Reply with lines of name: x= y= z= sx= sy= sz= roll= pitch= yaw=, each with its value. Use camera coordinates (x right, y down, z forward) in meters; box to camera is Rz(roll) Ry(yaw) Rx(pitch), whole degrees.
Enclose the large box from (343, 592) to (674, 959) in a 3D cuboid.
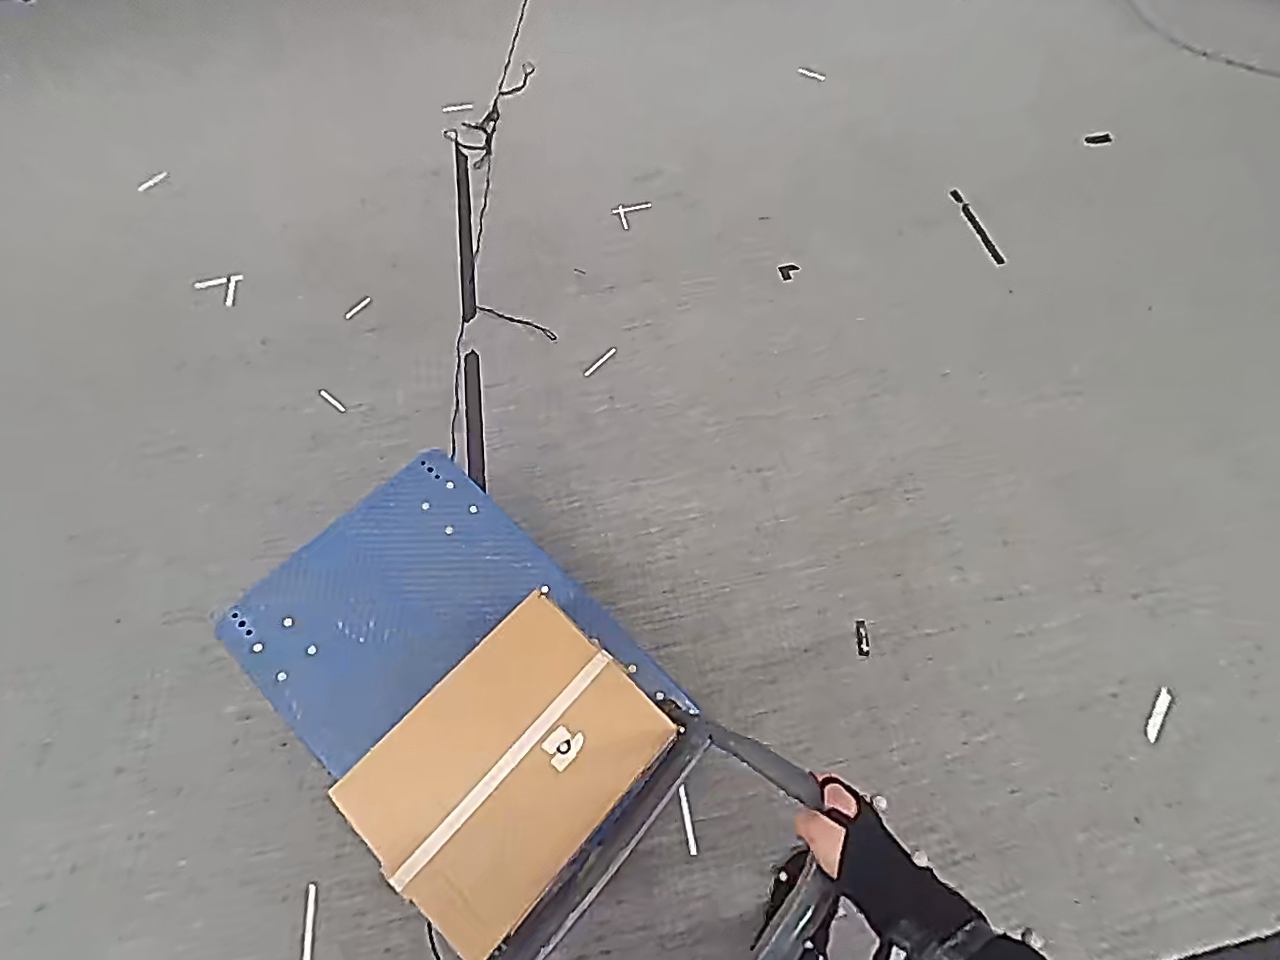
large box: x=-0.200 y=0.471 z=0.944 sx=0.320 sy=0.320 sz=0.408 roll=42 pitch=71 yaw=10
